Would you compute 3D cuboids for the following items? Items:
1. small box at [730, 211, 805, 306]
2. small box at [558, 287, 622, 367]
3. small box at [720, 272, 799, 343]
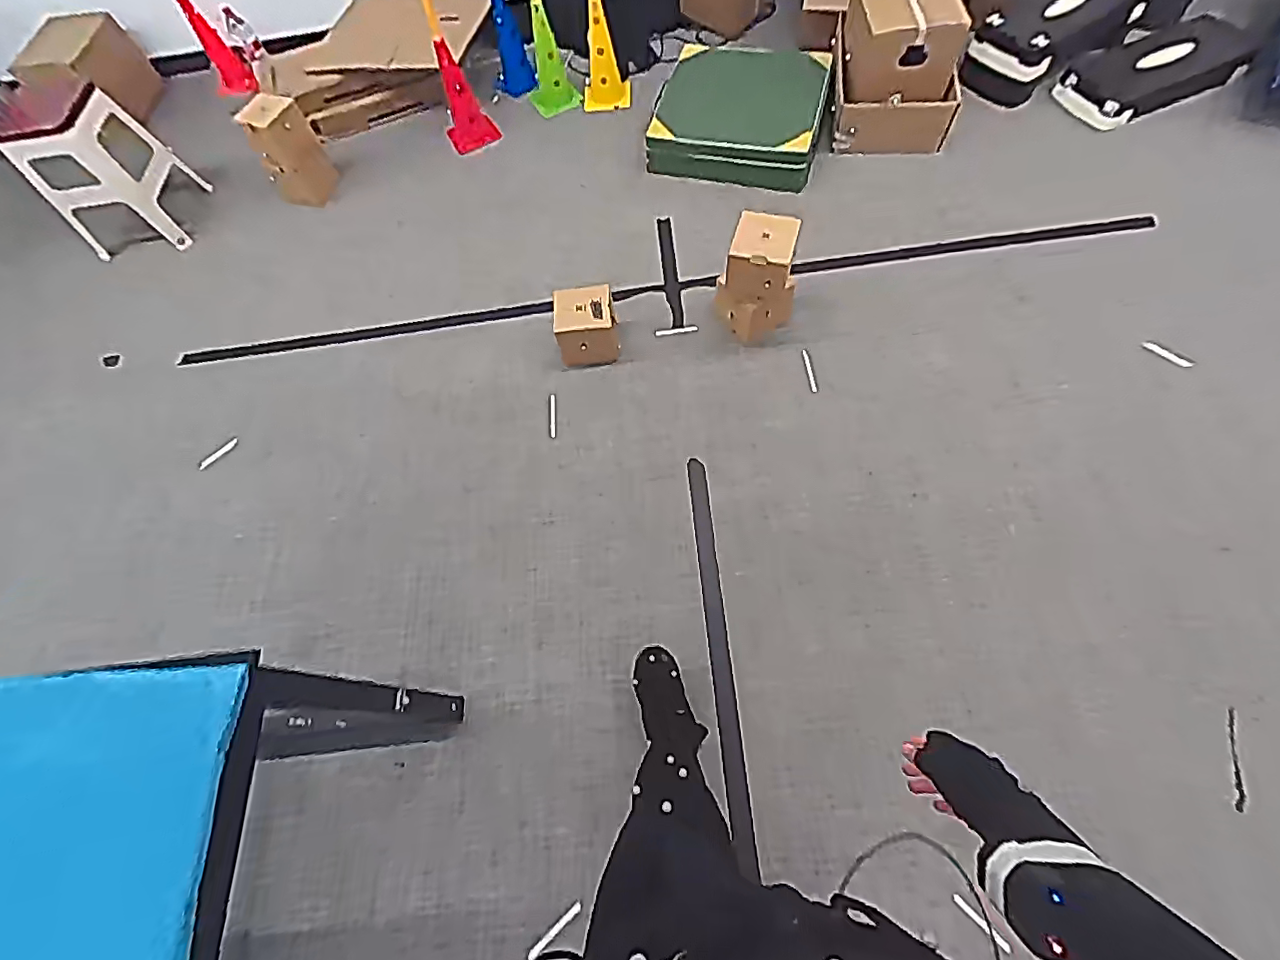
[{"bbox_3d":[0.356,-0.623,1.534,0.168,0.176,0.179,15,67,11],"label":"small box"},{"bbox_3d":[-0.151,-0.479,1.706,0.179,0.176,0.168,-5,64,5],"label":"small box"},{"bbox_3d":[0.366,-0.564,1.689,0.179,0.176,0.168,-37,66,-11],"label":"small box"}]
